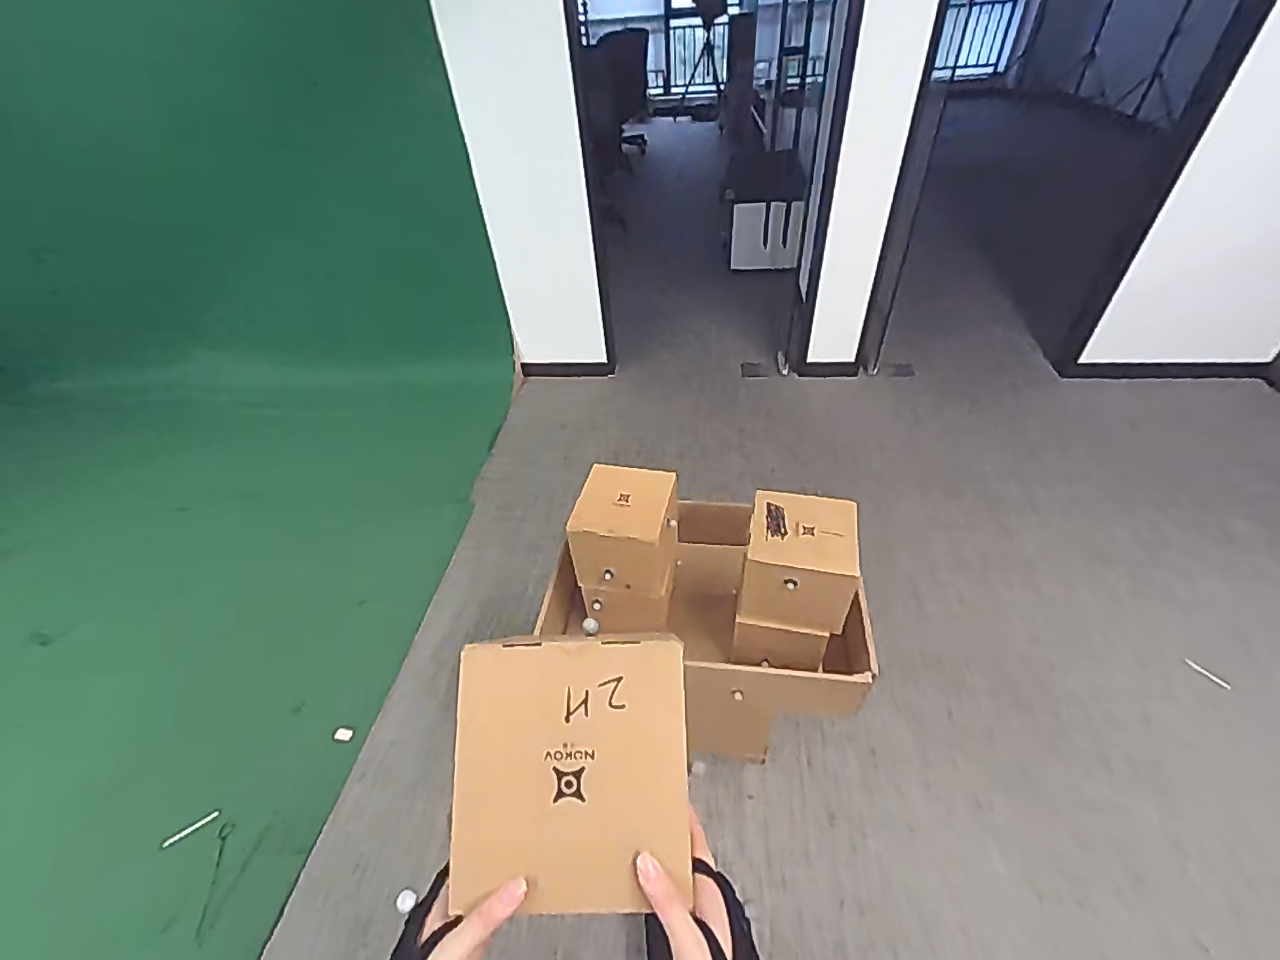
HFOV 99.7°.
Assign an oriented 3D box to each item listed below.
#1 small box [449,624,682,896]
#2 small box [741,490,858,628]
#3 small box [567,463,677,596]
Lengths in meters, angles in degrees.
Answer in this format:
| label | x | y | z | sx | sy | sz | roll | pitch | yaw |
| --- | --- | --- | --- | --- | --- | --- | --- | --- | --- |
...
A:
| label | x | y | z | sx | sy | sz | roll | pitch | yaw |
| --- | --- | --- | --- | --- | --- | --- | --- | --- | --- |
| small box | -0.049 | 0.216 | 0.464 | 0.168 | 0.176 | 0.179 | -1 | 76 | 1 |
| small box | 0.277 | 0.141 | 0.958 | 0.179 | 0.176 | 0.168 | 8 | 45 | 13 |
| small box | -0.026 | 0.094 | 1.036 | 0.168 | 0.176 | 0.179 | 7 | 44 | 12 |
